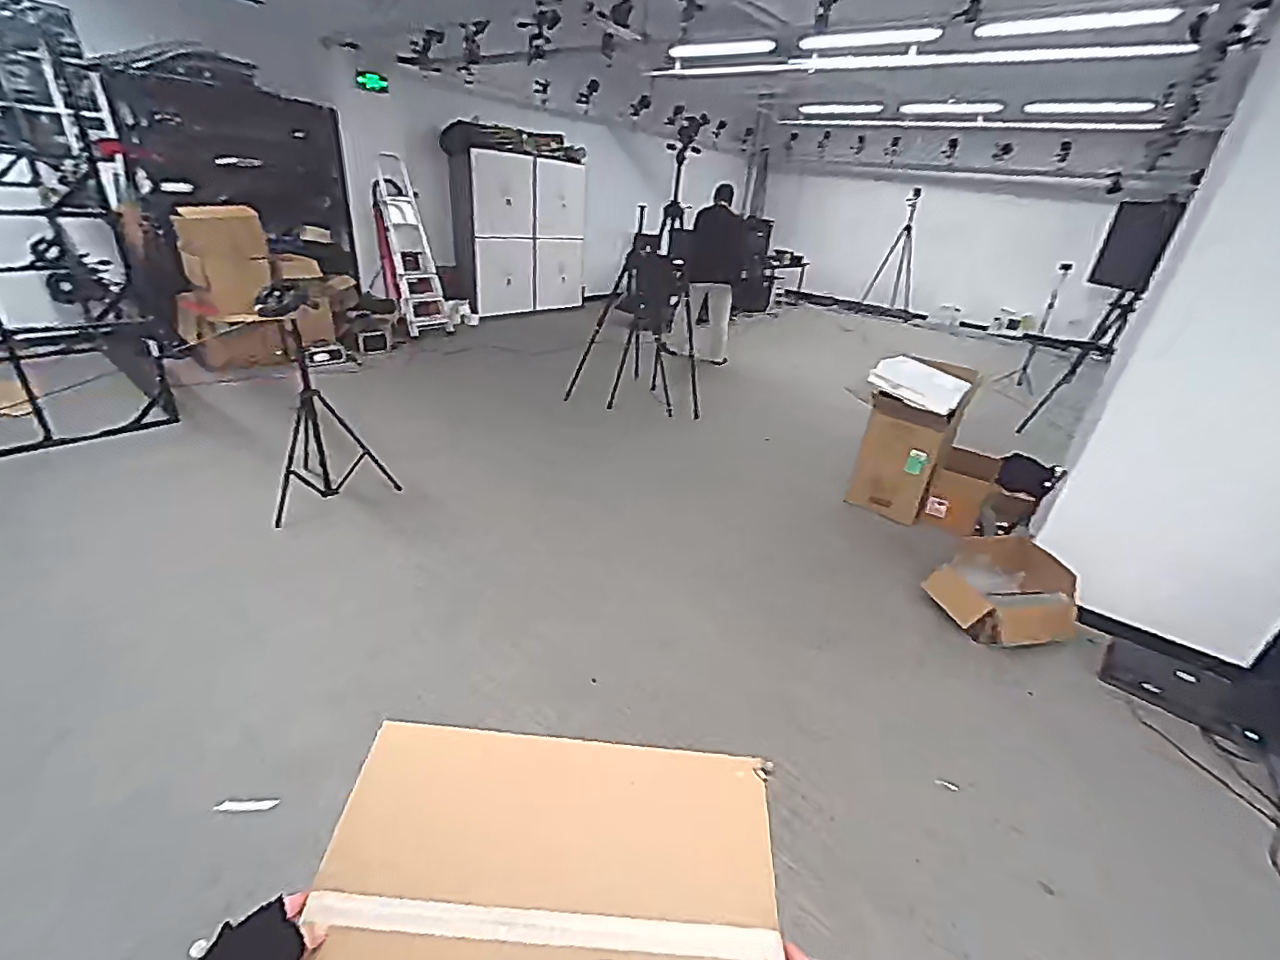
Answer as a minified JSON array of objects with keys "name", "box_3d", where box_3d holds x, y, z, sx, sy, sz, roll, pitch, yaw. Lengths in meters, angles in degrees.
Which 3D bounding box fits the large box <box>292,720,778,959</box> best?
[{"name":"large box","box_3d":[-0.096,0.485,0.564,0.408,0.320,0.320,7,41,-3]}]
